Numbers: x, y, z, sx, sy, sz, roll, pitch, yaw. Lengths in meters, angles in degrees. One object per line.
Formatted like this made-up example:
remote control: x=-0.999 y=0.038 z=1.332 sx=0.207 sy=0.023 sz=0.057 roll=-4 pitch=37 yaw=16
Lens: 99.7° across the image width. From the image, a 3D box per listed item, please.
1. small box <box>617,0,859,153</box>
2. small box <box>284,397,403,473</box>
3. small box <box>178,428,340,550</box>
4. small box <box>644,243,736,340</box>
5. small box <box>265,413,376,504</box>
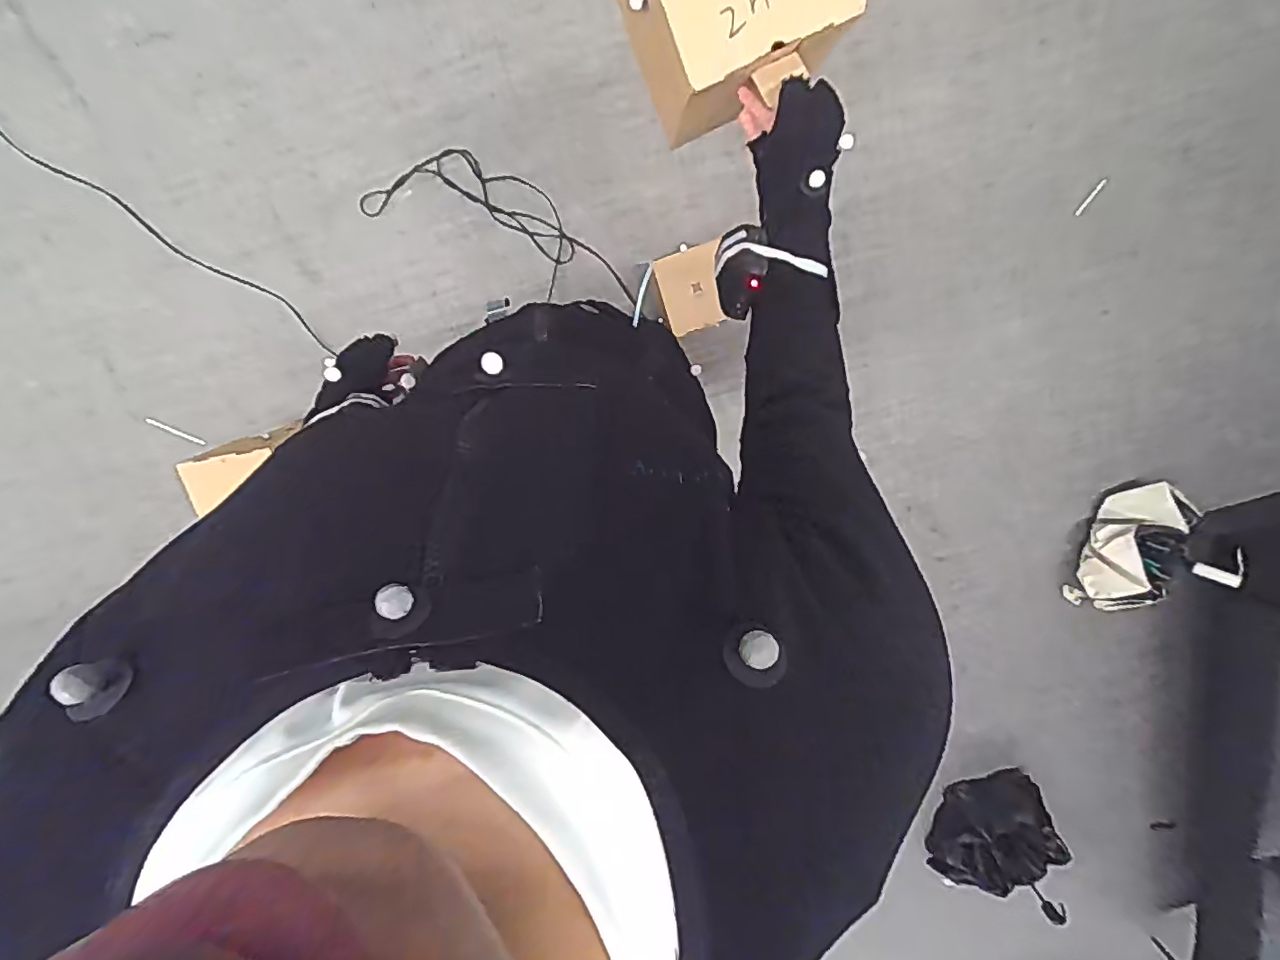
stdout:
small box: x=0.082 y=-0.464 z=0.533 sx=0.168 sy=0.176 sz=0.179 roll=-23 pitch=107 yaw=4
small box: x=-0.727 y=-0.100 z=1.346 sx=0.168 sy=0.176 sz=0.179 roll=-16 pitch=108 yaw=4
small box: x=-0.712 y=0.011 z=1.036 sx=0.168 sy=0.176 sz=0.179 roll=-9 pitch=108 yaw=-1
small box: x=0.116 y=-0.453 z=1.301 sx=0.168 sy=0.176 sz=0.179 roll=-18 pitch=109 yaw=1
small box: x=-0.717 y=-0.041 z=1.190 sx=0.168 sy=0.176 sz=0.179 roll=-14 pitch=110 yaw=0
